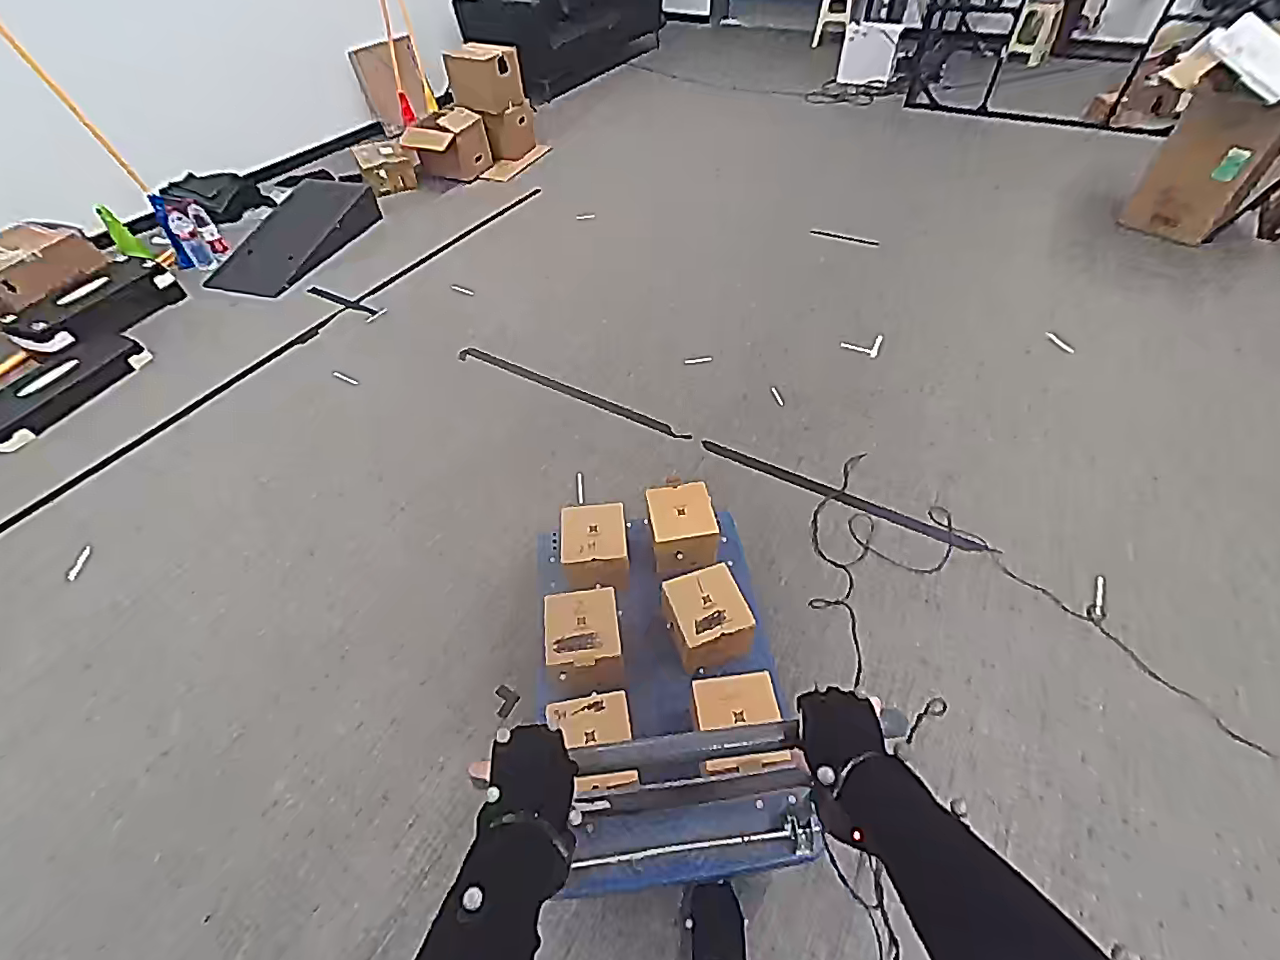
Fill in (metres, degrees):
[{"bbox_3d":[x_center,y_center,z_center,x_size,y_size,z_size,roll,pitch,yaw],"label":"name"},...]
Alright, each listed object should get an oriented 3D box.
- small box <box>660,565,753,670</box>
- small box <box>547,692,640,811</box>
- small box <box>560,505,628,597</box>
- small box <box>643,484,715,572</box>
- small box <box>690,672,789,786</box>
[{"bbox_3d":[0.155,0.339,1.307,0.168,0.176,0.179,-16,49,-11],"label":"small box"},{"bbox_3d":[-0.095,0.567,1.119,0.168,0.176,0.179,-8,50,-6],"label":"small box"},{"bbox_3d":[-0.121,0.191,1.446,0.168,0.176,0.179,-5,50,-2],"label":"small box"},{"bbox_3d":[0.105,0.138,1.484,0.168,0.176,0.179,-9,49,-5],"label":"small box"},{"bbox_3d":[0.200,0.530,1.140,0.168,0.176,0.179,-6,48,-3],"label":"small box"}]
